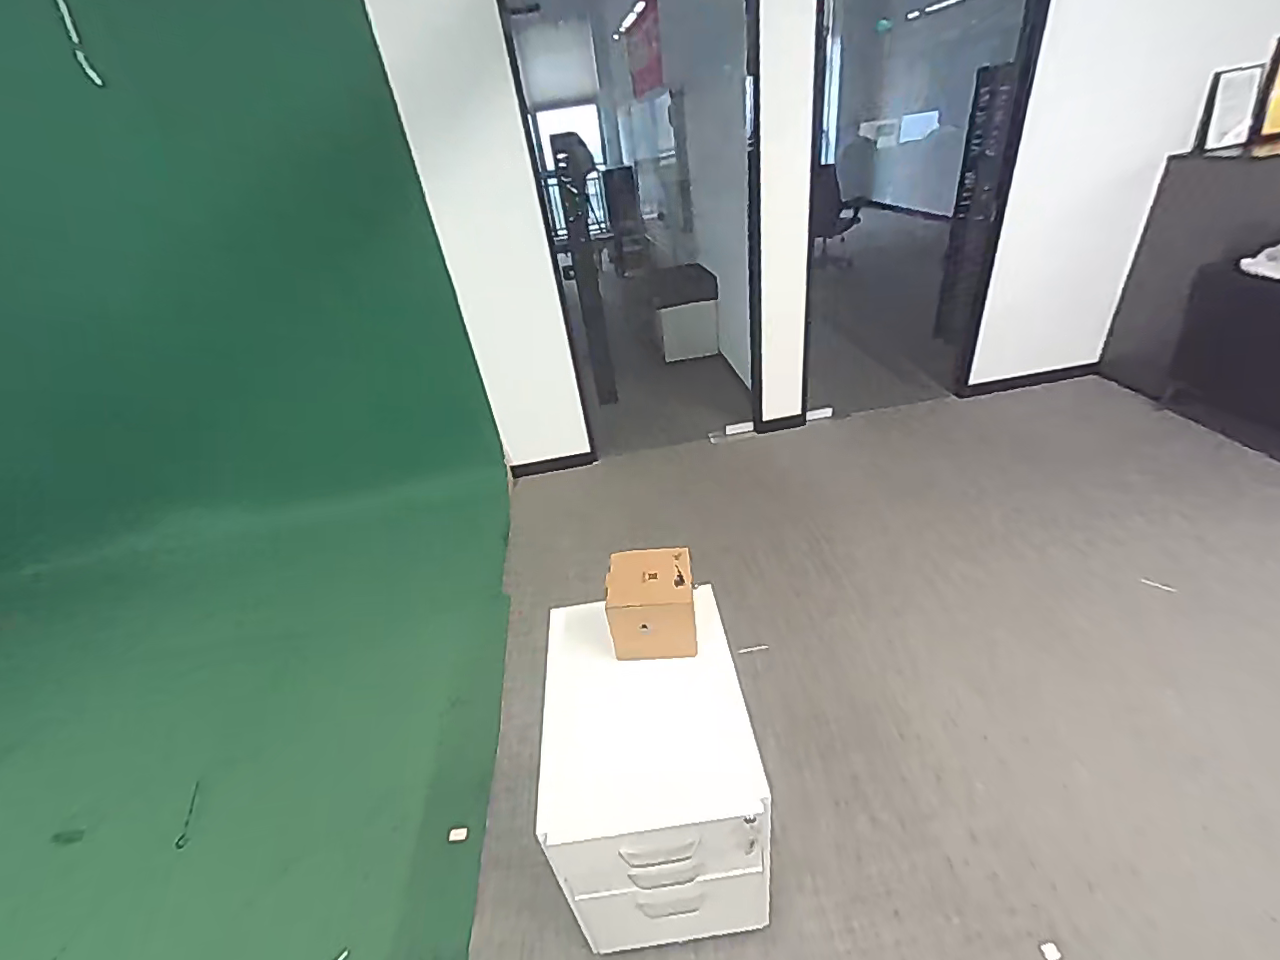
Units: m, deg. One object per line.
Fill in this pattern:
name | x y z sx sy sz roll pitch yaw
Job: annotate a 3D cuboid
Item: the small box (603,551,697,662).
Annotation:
small box | 0.027 0.275 1.173 0.179 0.176 0.168 -5 33 6
